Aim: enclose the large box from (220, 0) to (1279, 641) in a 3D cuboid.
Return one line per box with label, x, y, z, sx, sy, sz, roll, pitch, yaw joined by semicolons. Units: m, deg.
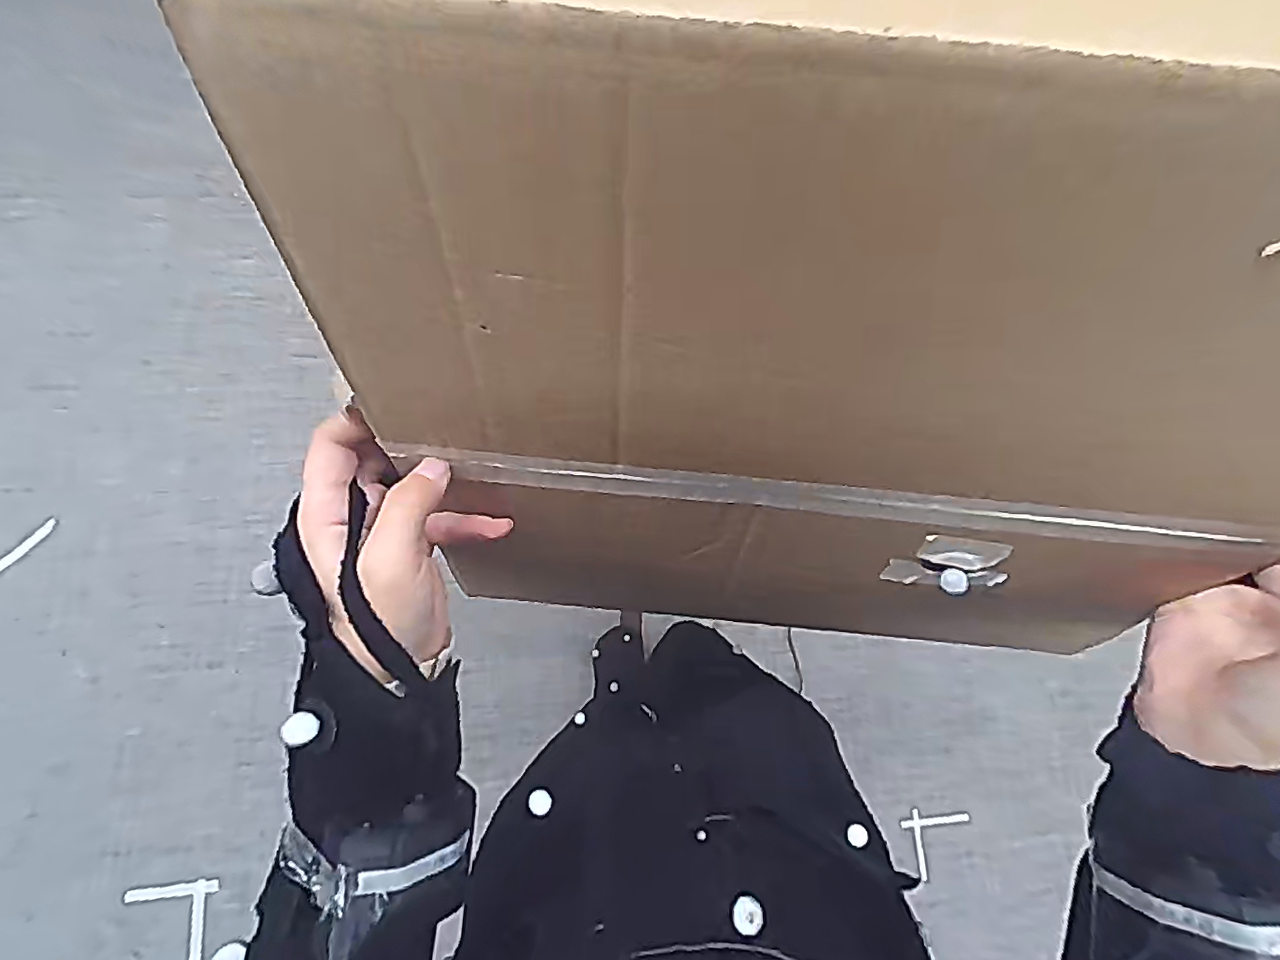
large box;0.096;-0.115;0.334;0.408;0.320;0.320;4;55;0
